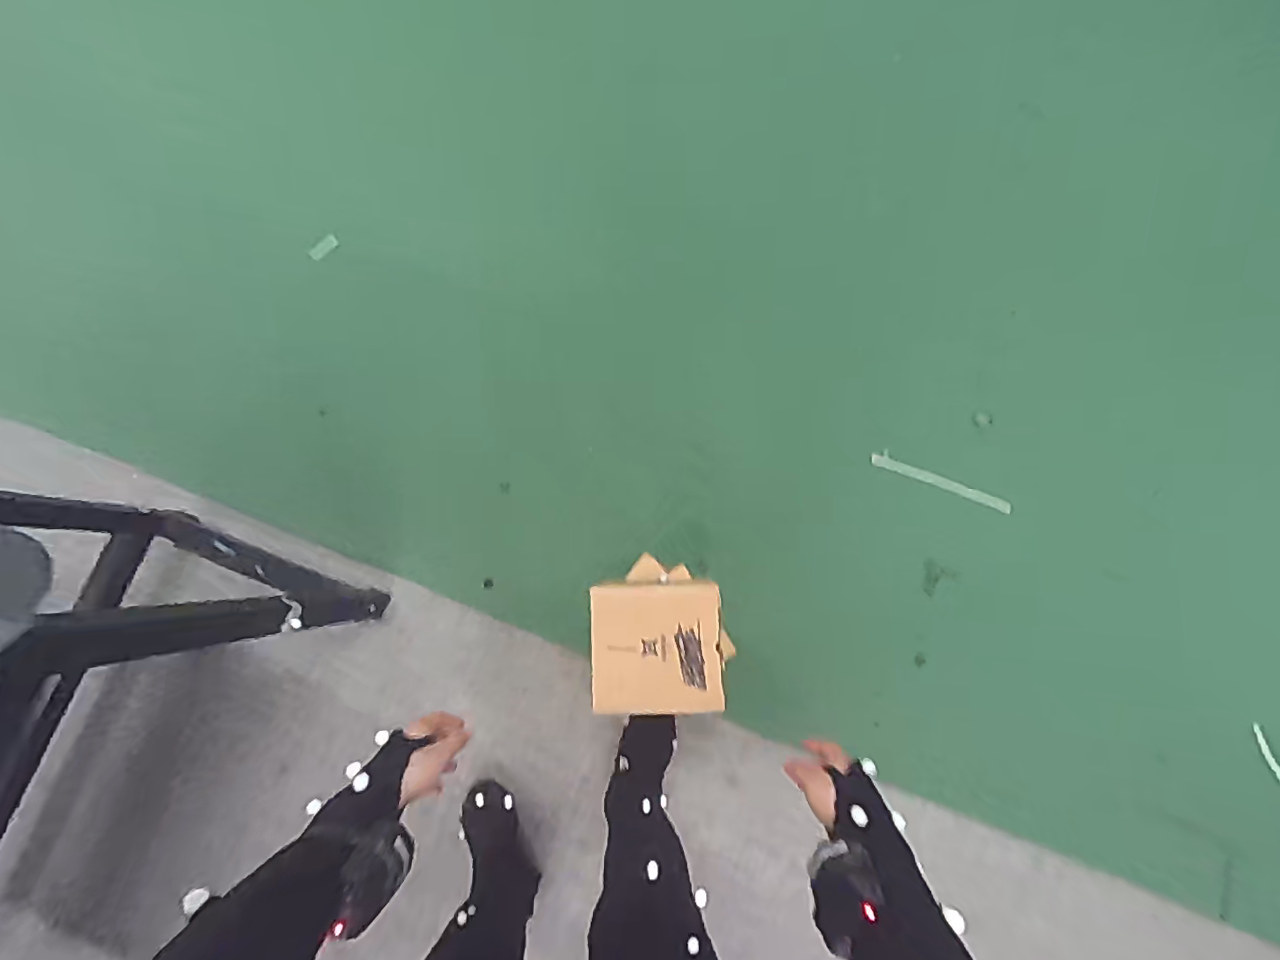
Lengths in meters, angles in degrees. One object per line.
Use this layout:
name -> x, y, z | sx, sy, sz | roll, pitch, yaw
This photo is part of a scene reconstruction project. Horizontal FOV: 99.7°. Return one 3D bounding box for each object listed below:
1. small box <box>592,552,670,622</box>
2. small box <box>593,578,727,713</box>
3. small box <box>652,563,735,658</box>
small box -> 0.027, 0.268, 1.119 | 0.168, 0.176, 0.179 | 37, 85, 7
small box -> 0.029, 0.232, 0.793 | 0.179, 0.176, 0.168 | -2, 82, 4
small box -> 0.045, 0.260, 0.955 | 0.179, 0.176, 0.168 | -31, 82, -3
